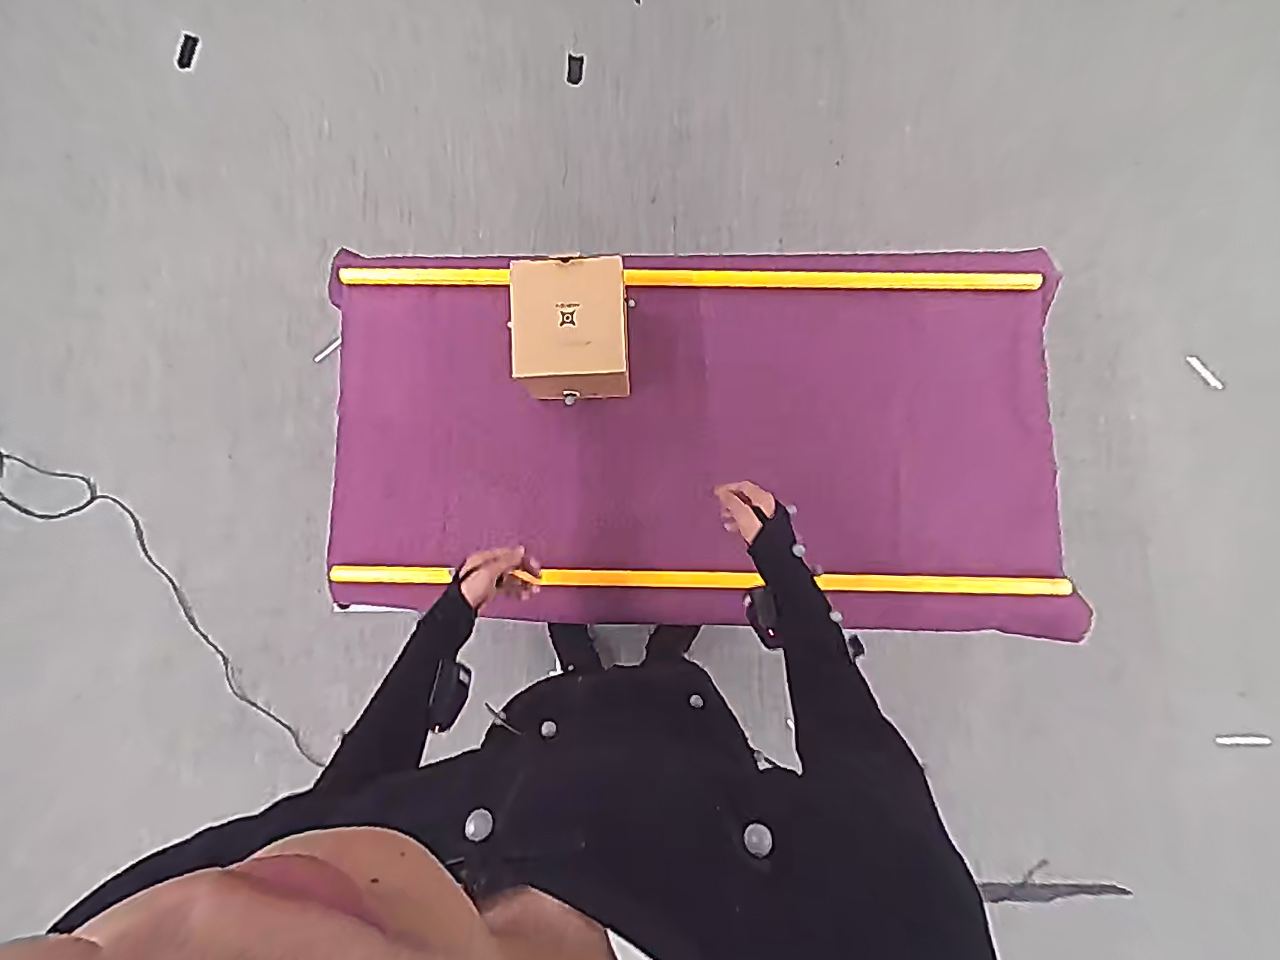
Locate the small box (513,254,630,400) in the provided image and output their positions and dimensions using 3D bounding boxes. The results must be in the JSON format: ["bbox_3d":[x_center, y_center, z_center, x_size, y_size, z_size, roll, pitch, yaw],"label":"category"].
[{"bbox_3d":[-0.101,-0.233,0.856,0.168,0.176,0.179,-3,86,1],"label":"small box"}]
